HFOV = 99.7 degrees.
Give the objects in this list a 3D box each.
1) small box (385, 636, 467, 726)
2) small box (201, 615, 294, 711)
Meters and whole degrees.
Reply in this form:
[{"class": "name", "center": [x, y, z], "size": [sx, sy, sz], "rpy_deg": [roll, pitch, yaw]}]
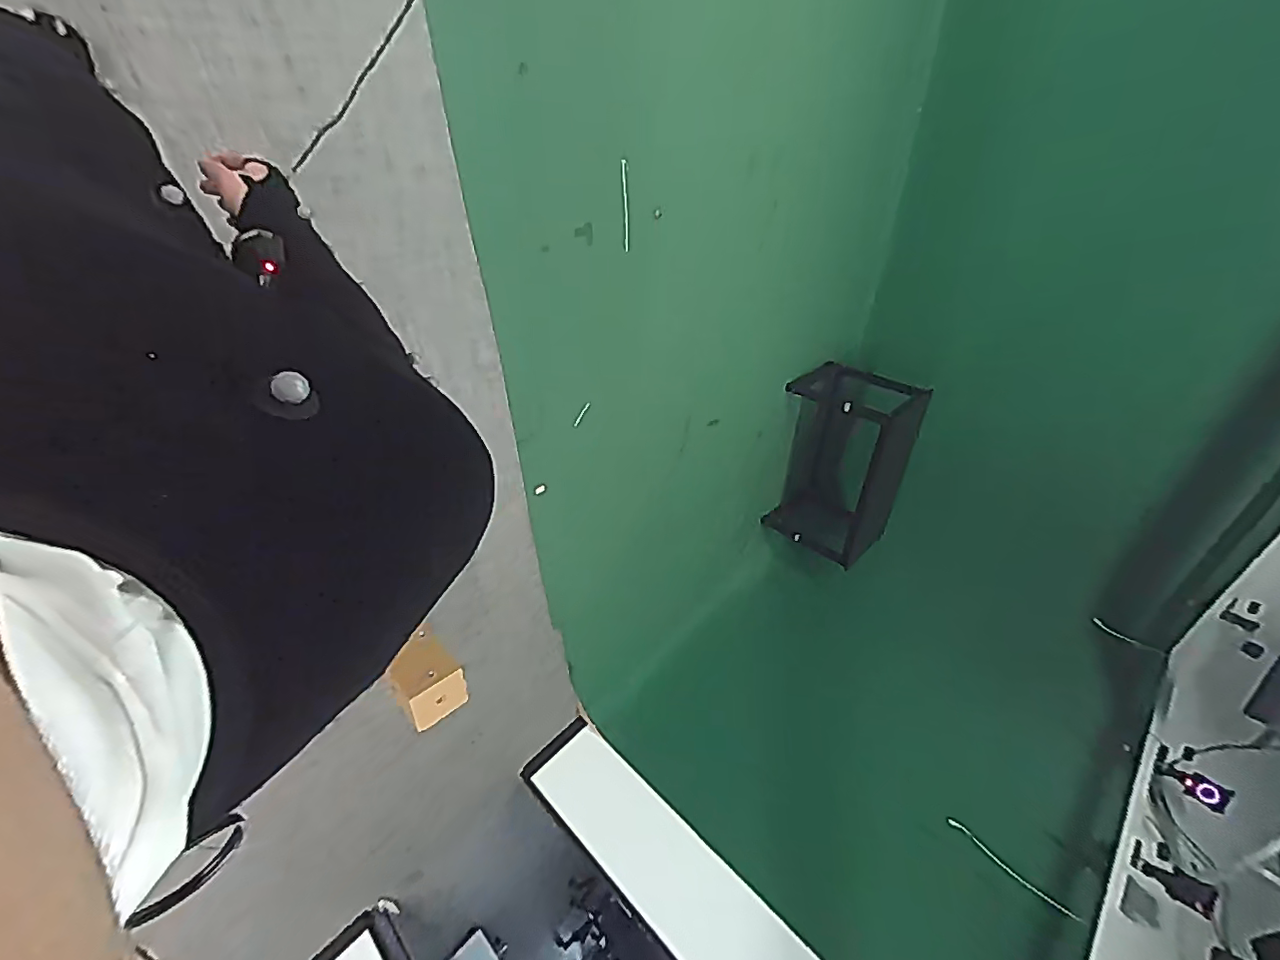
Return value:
[{"class": "small box", "center": [-0.687, 0.637, 1.740], "size": [0.179, 0.176, 0.168], "rpy_deg": [-26, 132, -37]}, {"class": "small box", "center": [-1.190, 0.547, 1.633], "size": [0.179, 0.176, 0.168], "rpy_deg": [-28, 135, -38]}]
